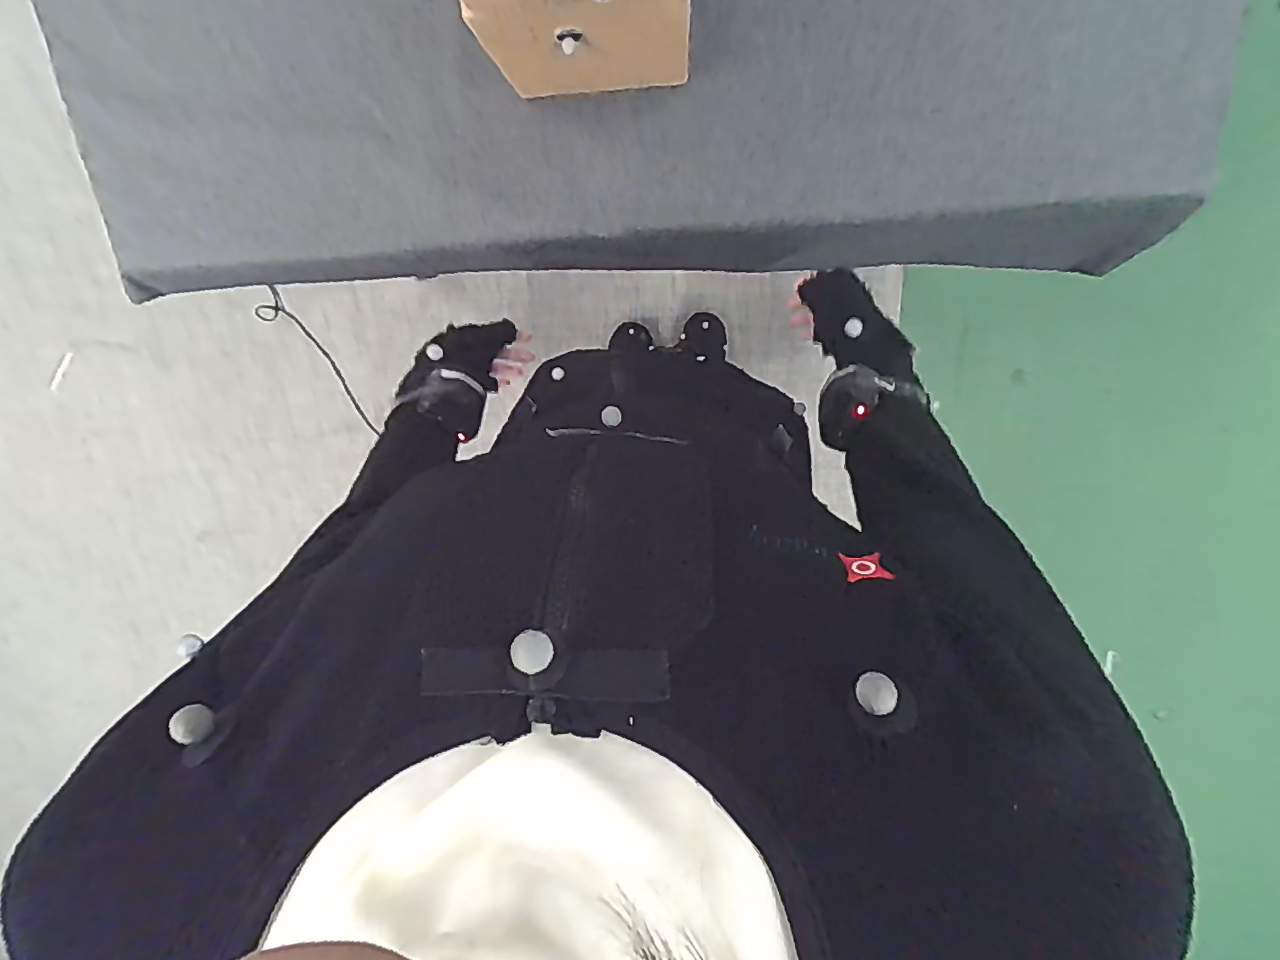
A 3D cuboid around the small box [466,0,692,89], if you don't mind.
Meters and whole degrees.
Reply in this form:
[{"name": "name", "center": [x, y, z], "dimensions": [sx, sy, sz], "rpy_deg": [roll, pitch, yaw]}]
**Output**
[{"name": "small box", "center": [-0.045, -0.465, 0.466], "dimensions": [0.179, 0.176, 0.168], "rpy_deg": [-1, 107, 5]}]
